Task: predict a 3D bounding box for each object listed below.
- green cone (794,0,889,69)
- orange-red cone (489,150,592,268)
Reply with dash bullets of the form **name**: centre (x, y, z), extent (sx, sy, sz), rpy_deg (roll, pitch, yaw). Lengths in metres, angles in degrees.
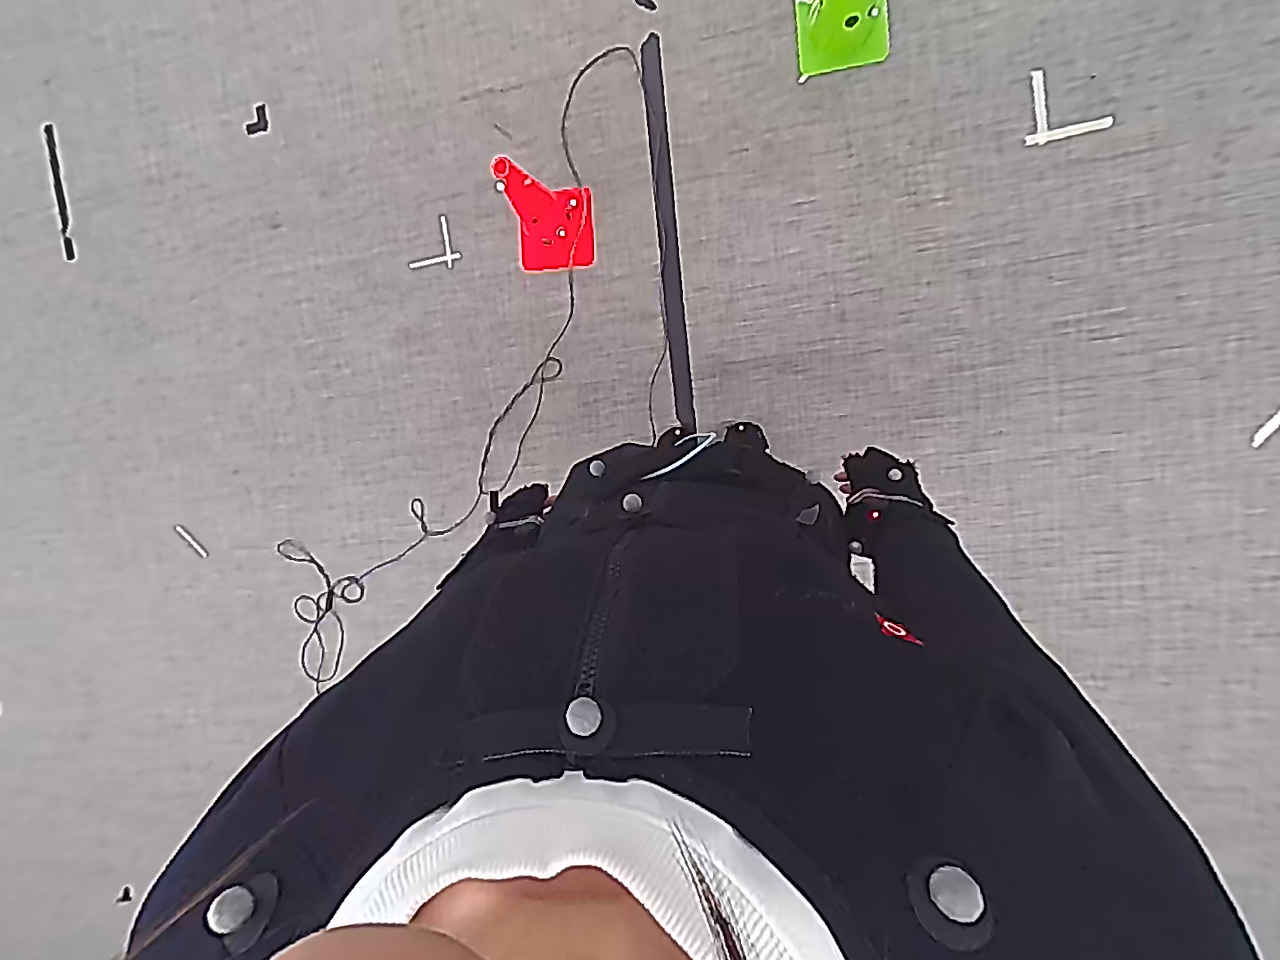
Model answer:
- **green cone**: centre (0.438, -1.046, 1.076), extent (0.202, 0.368, 0.200), rpy_deg (-5, 95, 9)
- **orange-red cone**: centre (-0.252, -0.644, 1.238), extent (0.199, 0.360, 0.198), rpy_deg (-1, 94, 11)
